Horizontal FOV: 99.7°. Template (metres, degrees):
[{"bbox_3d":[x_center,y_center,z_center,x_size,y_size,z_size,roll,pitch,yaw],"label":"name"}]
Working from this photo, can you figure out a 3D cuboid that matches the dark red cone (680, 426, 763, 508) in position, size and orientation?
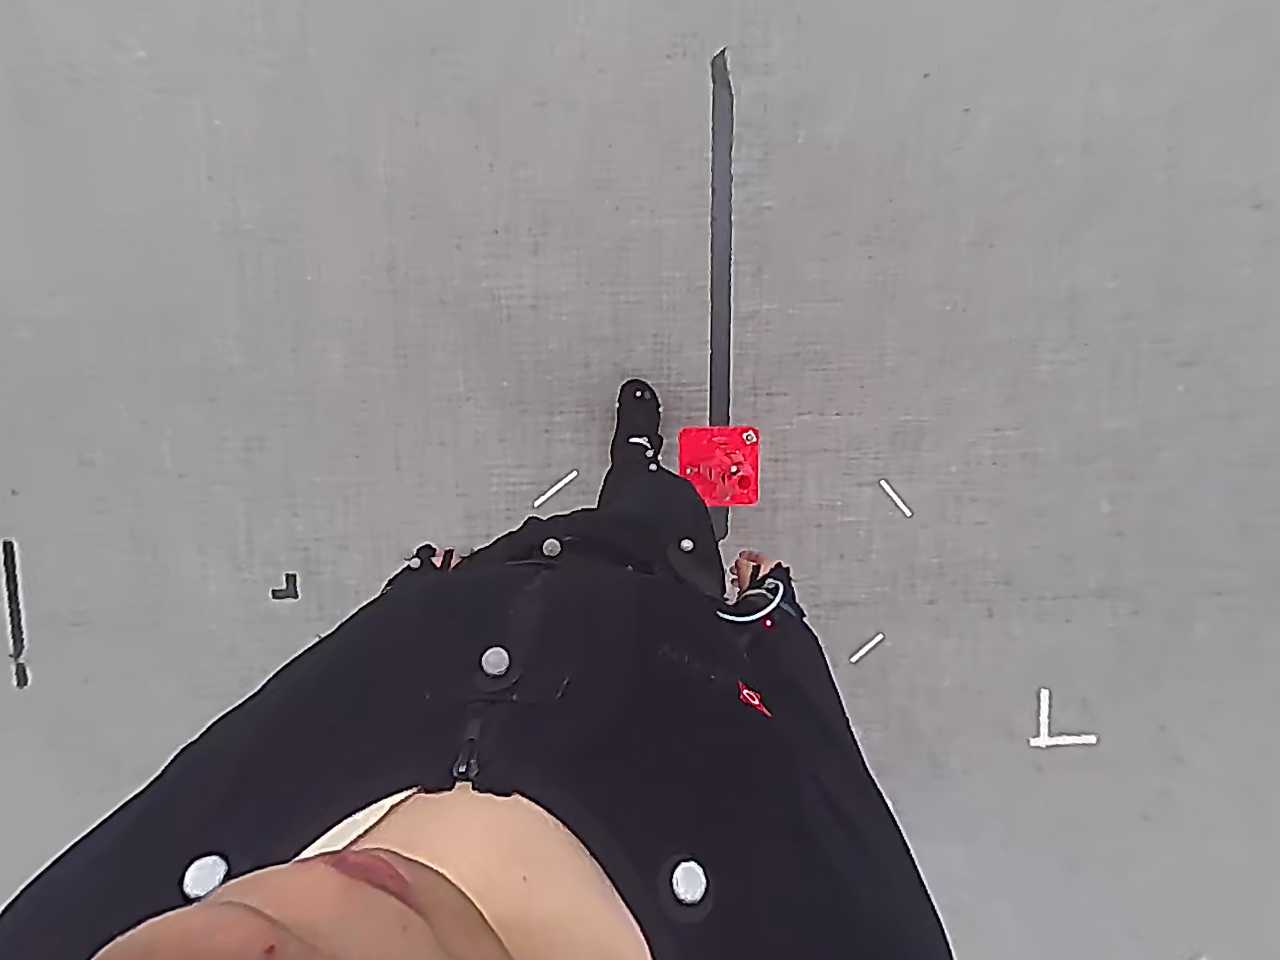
[{"bbox_3d":[0.194,-0.013,1.158,0.201,0.394,0.202,-1,97,2],"label":"dark red cone"}]
